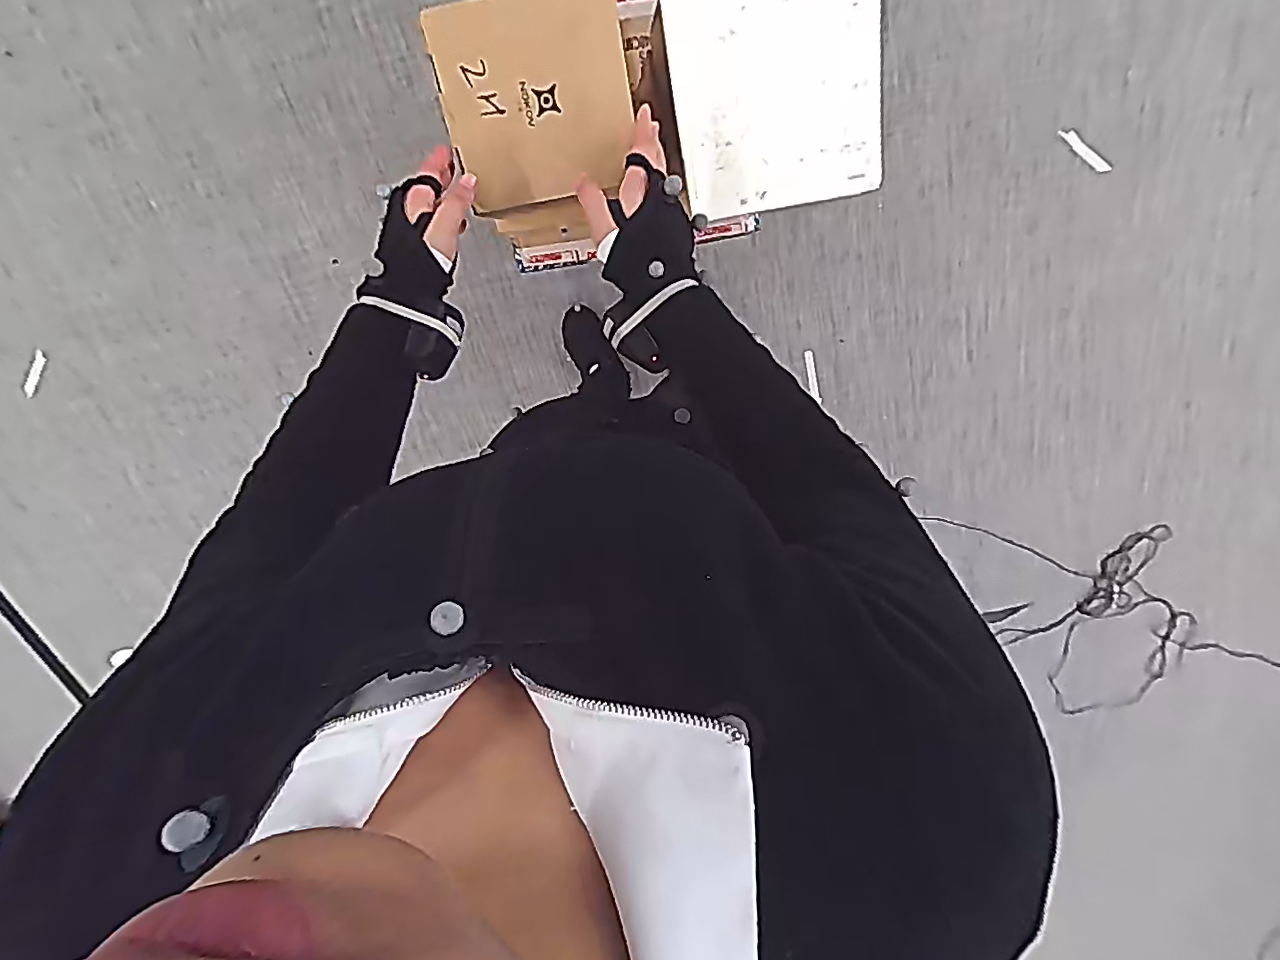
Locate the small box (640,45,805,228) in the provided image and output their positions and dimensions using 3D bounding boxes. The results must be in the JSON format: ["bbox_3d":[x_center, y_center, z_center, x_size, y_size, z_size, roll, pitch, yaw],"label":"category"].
[{"bbox_3d":[0.107,-0.459,0.749,0.179,0.176,0.168,-15,114,2],"label":"small box"}]

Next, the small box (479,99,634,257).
[{"bbox_3d":[-0.105,-0.412,0.756,0.179,0.176,0.168,-6,114,1],"label":"small box"}]
